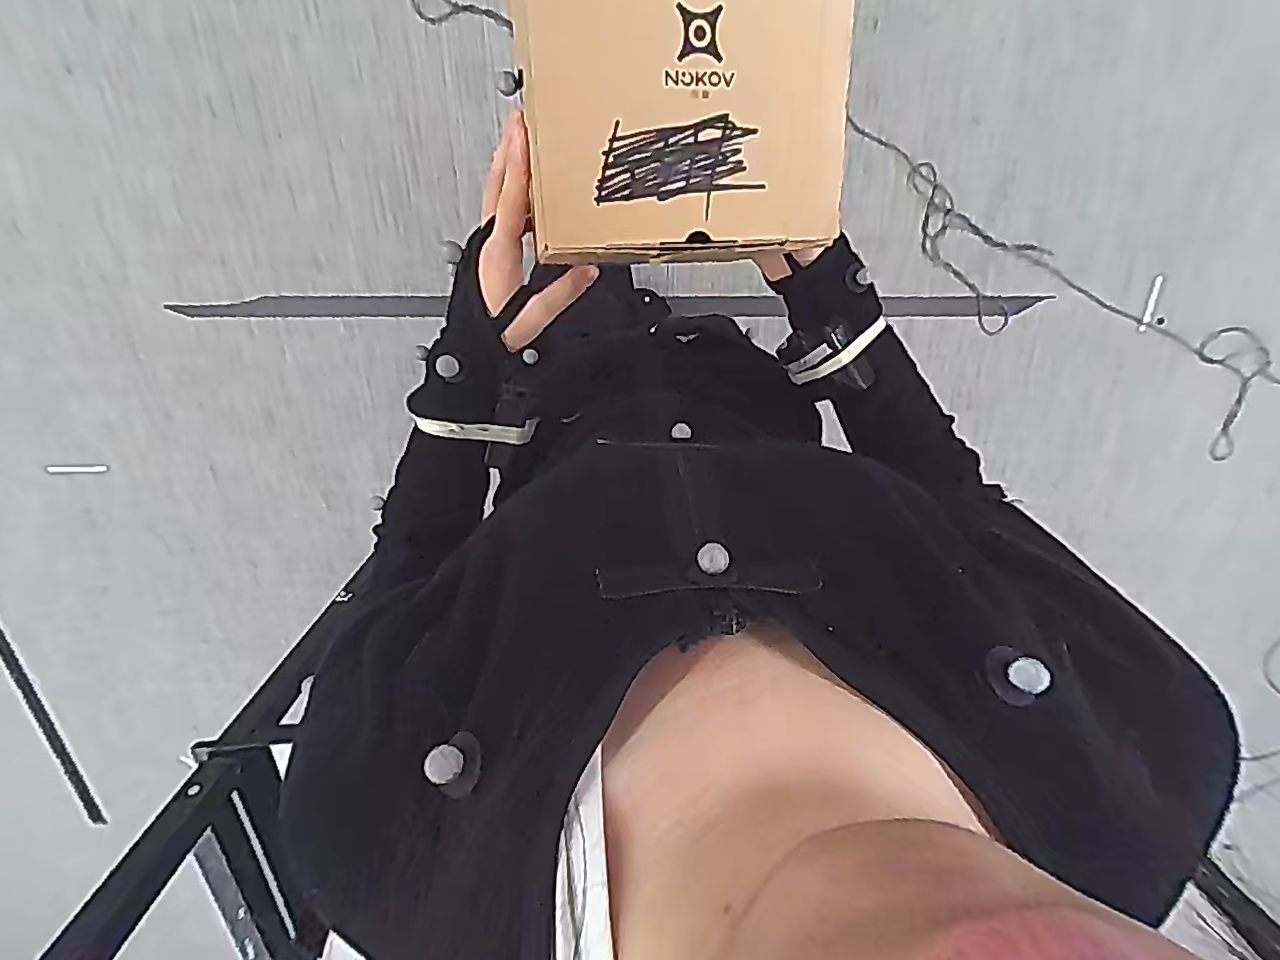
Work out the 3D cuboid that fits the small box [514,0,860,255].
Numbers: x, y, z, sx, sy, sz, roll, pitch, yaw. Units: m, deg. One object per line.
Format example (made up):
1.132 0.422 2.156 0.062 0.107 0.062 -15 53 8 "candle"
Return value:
0.012 -0.236 0.333 0.168 0.176 0.179 -6 109 -11 "small box"
